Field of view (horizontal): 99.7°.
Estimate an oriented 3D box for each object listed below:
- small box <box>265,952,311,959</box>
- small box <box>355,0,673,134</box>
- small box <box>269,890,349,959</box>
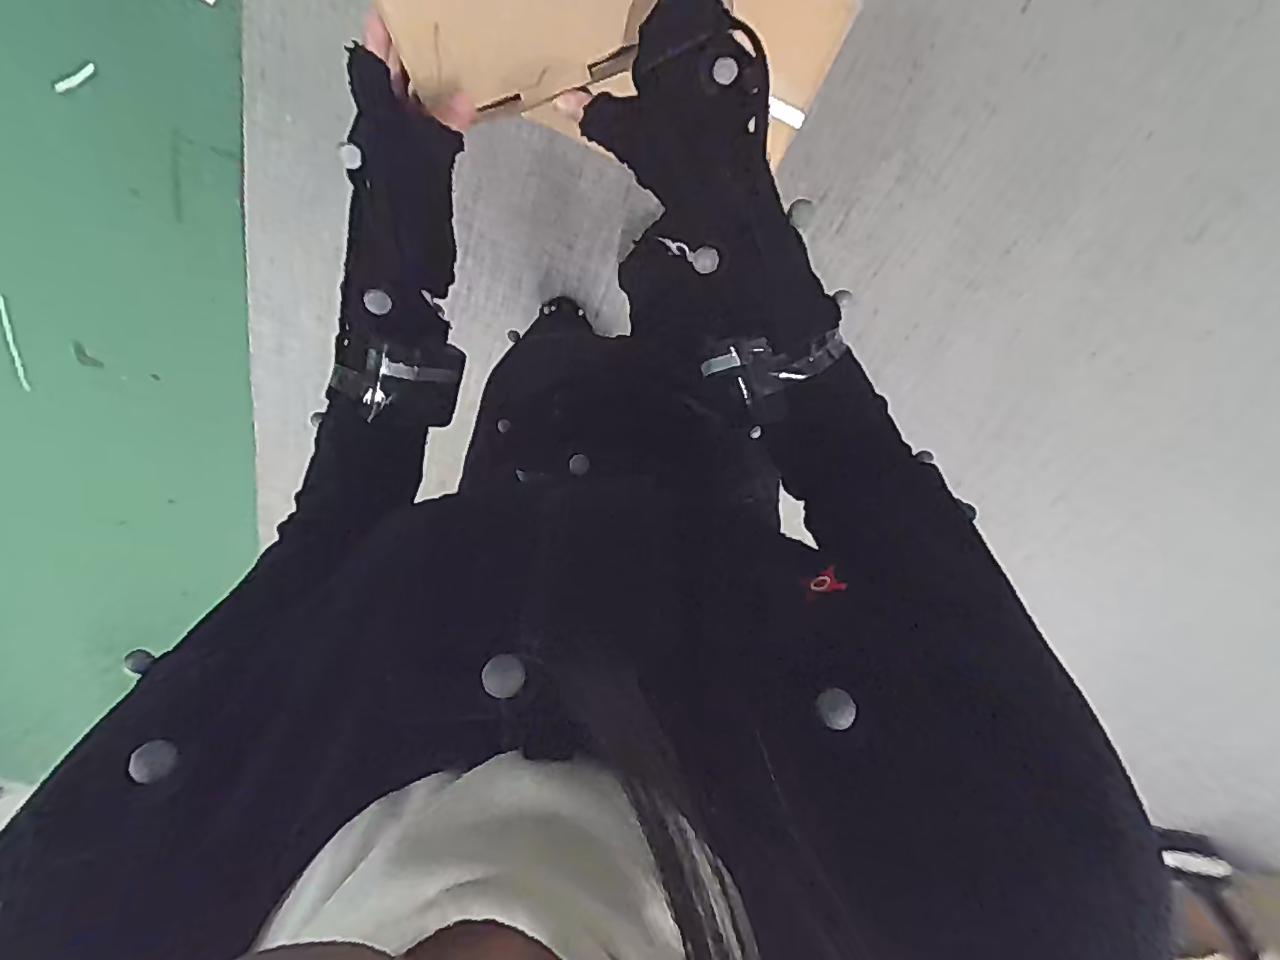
[{"bbox_3d":[-1.141,1.626,1.708,0.179,0.176,0.168,22,125,-10],"label":"small box"},{"bbox_3d":[-0.081,-0.348,0.332,0.168,0.176,0.179,-13,126,15],"label":"small box"},{"bbox_3d":[-1.123,1.535,1.844,0.179,0.176,0.168,23,124,-7],"label":"small box"}]
